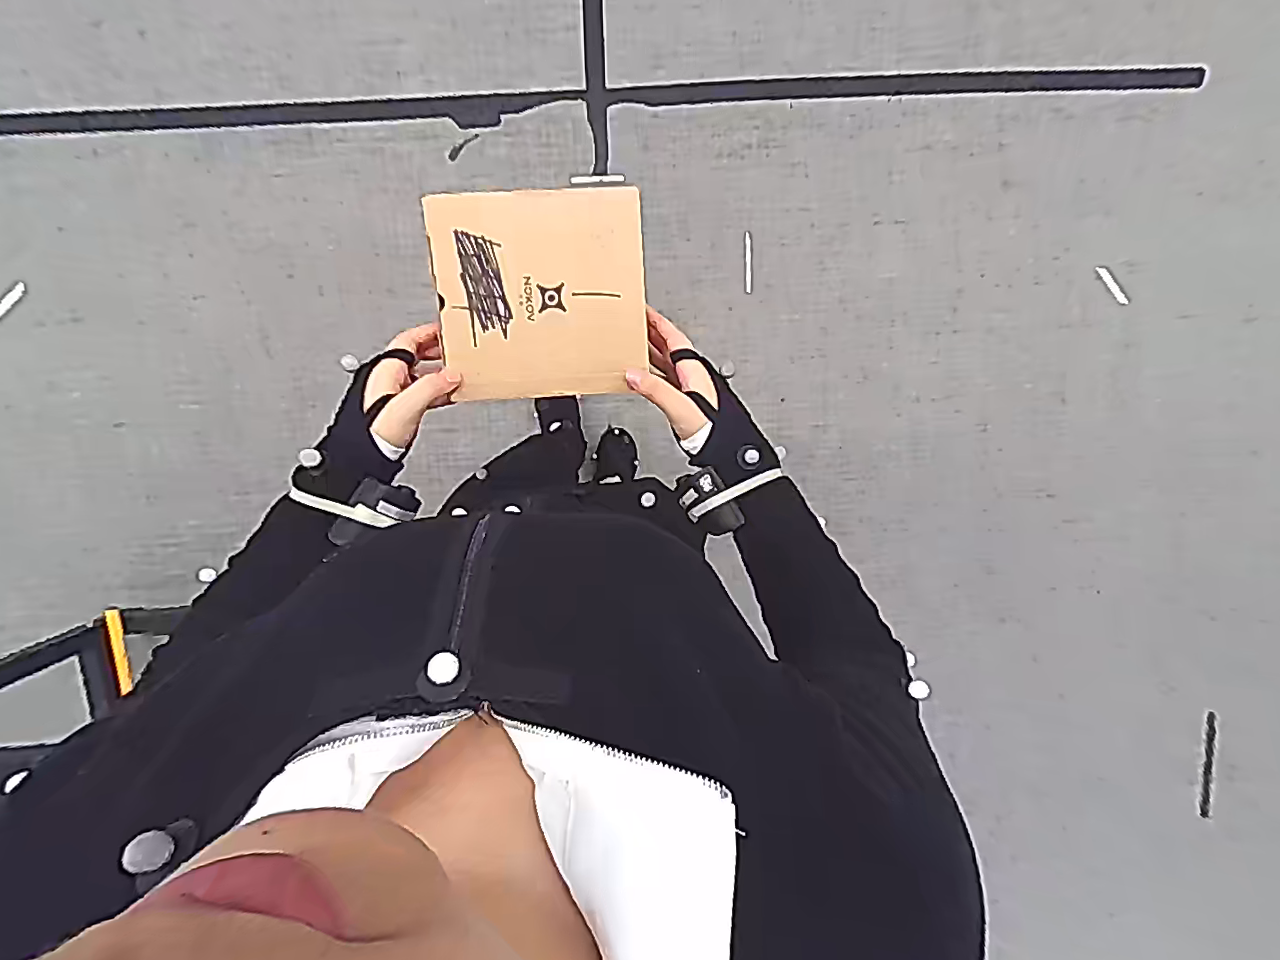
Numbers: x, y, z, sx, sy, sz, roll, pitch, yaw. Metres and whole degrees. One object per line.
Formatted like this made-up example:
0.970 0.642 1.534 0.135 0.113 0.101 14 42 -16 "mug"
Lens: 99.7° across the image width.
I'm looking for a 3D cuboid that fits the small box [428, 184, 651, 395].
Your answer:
-0.084 -0.170 0.526 0.179 0.176 0.168 -4 102 -3 "small box"
